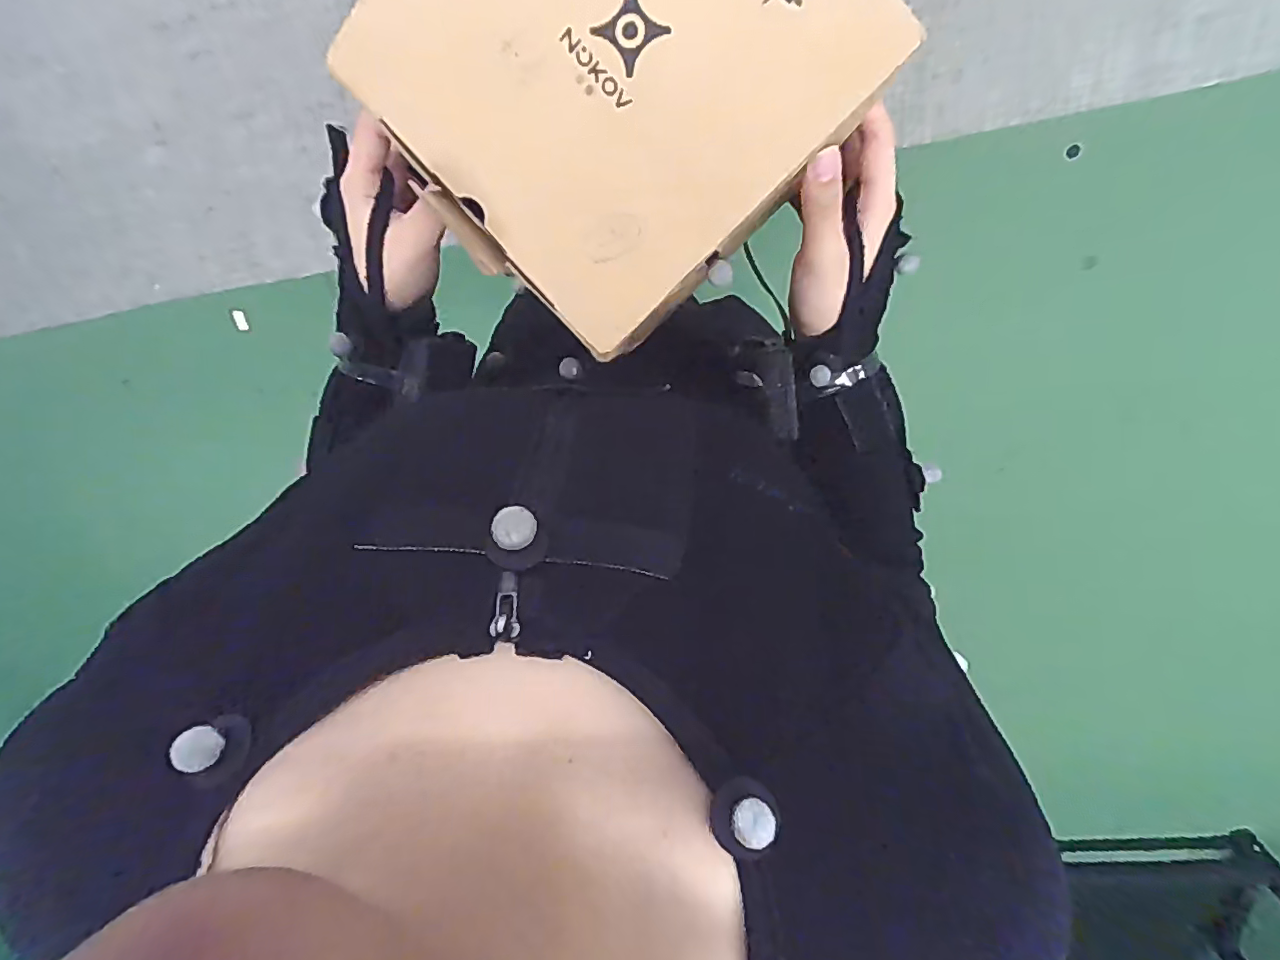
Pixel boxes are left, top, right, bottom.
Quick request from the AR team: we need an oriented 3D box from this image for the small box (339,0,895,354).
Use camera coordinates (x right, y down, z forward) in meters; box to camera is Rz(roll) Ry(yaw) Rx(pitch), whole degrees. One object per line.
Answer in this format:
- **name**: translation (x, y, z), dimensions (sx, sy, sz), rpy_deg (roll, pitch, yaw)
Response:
- **small box**: translation (-0.007, -0.189, 0.298), dimensions (0.179, 0.176, 0.168), rpy_deg (-42, 98, 13)
